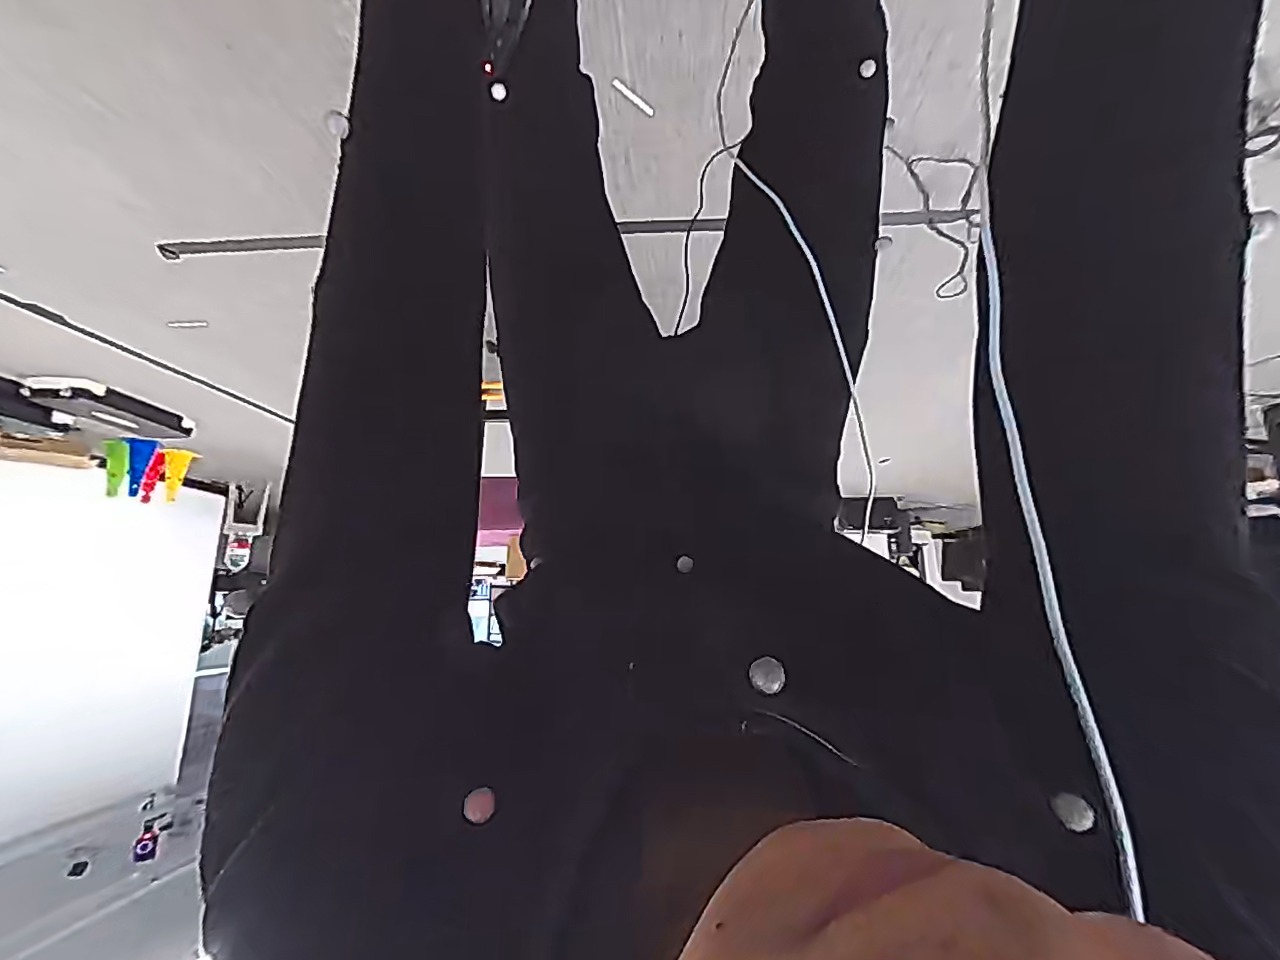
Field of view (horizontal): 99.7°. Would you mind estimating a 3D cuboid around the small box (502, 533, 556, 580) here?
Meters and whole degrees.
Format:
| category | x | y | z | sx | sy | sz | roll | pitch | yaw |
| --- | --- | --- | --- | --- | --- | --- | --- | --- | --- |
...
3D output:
| category | x | y | z | sx | sy | sz | roll | pitch | yaw |
| --- | --- | --- | --- | --- | --- | --- | --- | --- | --- |
| small box | -0.429 | 0.300 | 2.123 | 0.179 | 0.176 | 0.168 | -1 | 168 | 1 |
